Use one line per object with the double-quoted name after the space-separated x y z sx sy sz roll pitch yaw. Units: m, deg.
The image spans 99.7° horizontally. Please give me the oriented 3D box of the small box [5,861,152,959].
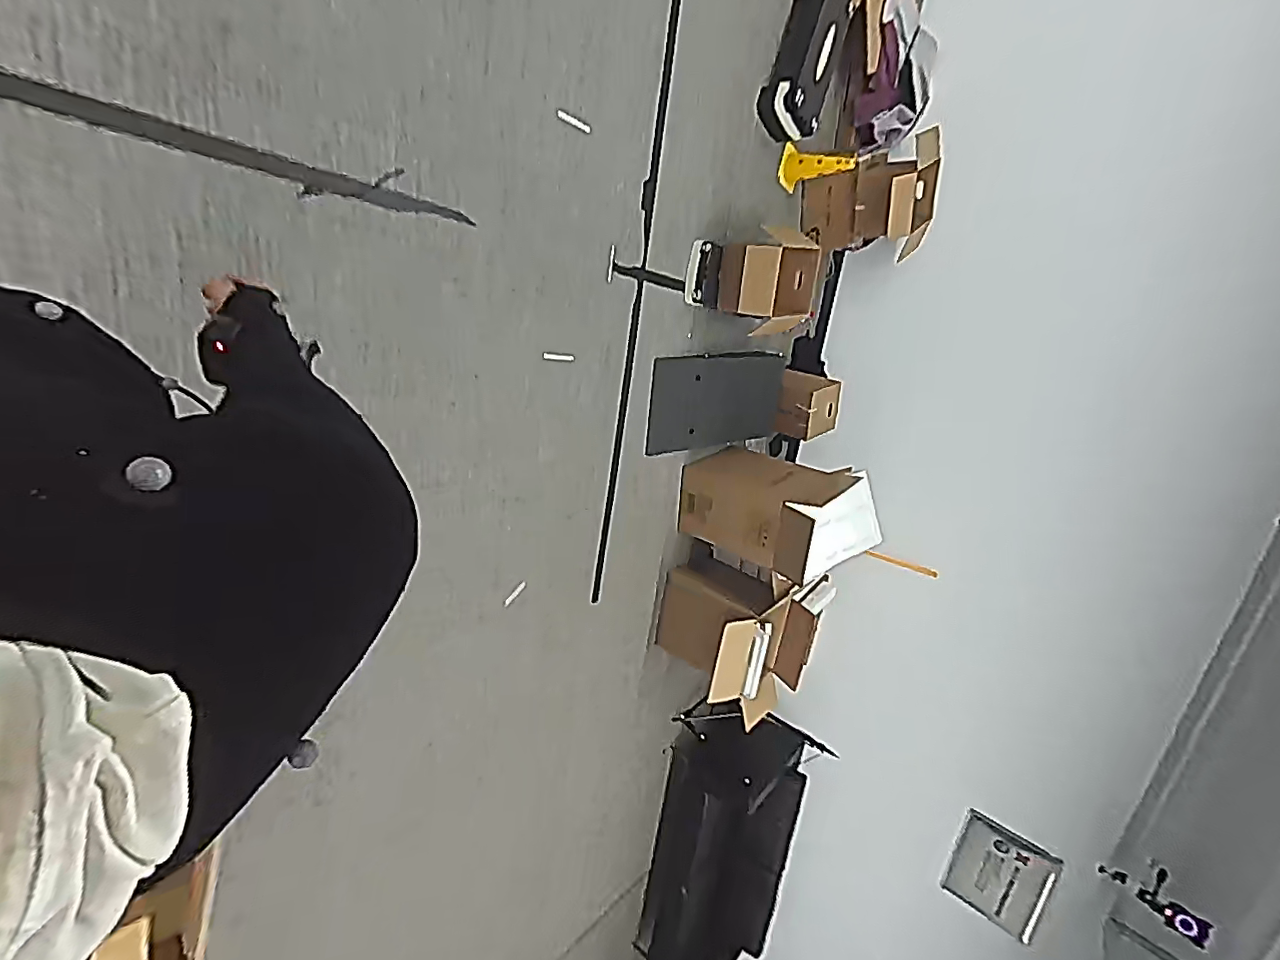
-1.054 0.876 1.015 0.179 0.176 0.168 -1 108 -51 "small box"
